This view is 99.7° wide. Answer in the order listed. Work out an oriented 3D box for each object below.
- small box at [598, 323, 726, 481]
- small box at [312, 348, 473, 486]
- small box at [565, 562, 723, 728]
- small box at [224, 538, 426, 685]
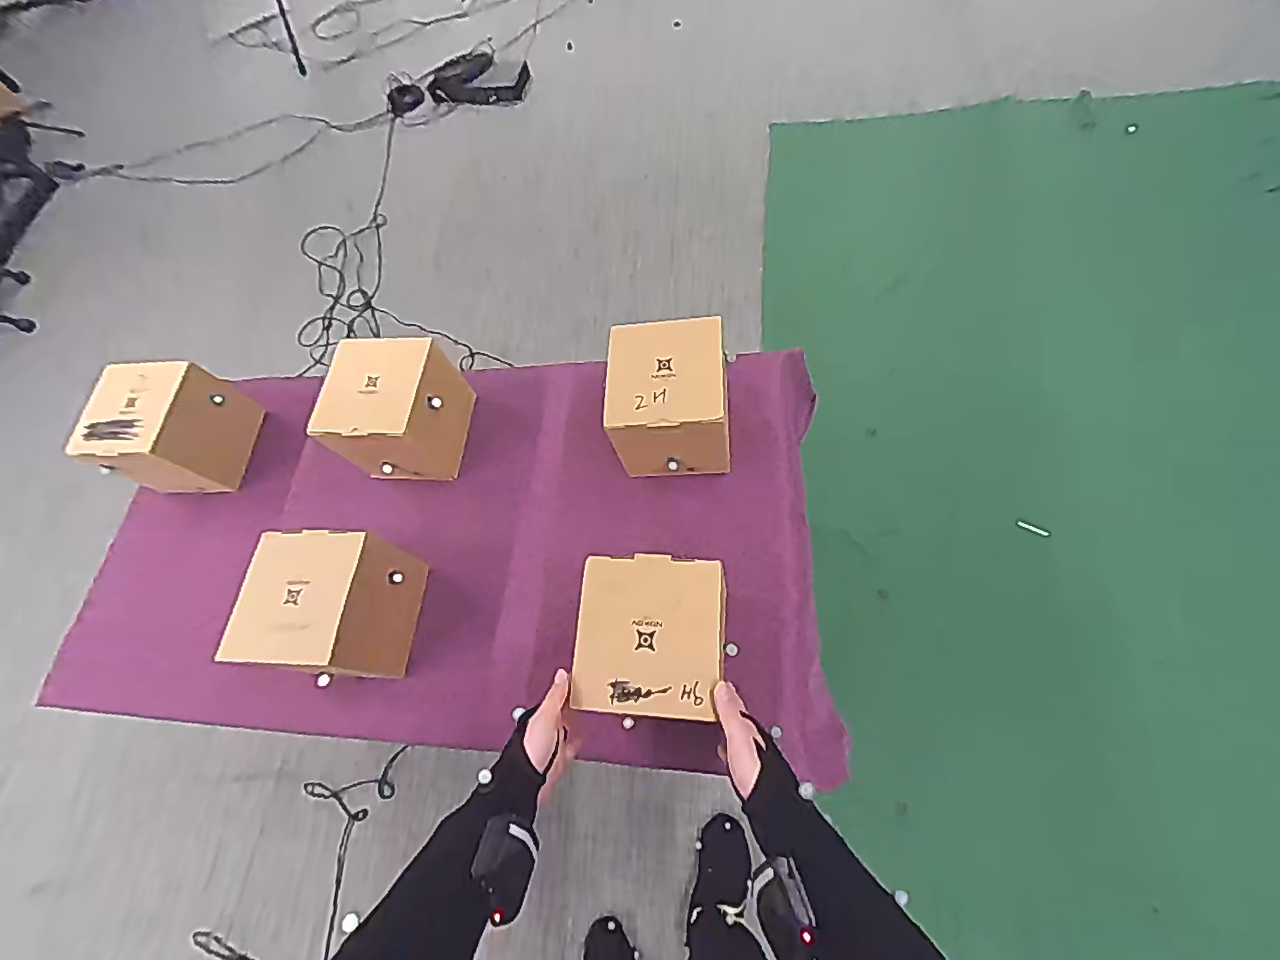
[{"bbox_3d":[0.042,-0.113,0.832,0.168,0.176,0.179,-3,67,13],"label":"small box"},{"bbox_3d":[-0.405,-0.103,0.920,0.168,0.176,0.179,1,69,11],"label":"small box"},{"bbox_3d":[0.017,0.213,0.693,0.168,0.176,0.179,0,68,12],"label":"small box"},{"bbox_3d":[-0.441,0.195,0.792,0.168,0.176,0.179,-1,65,12],"label":"small box"}]
